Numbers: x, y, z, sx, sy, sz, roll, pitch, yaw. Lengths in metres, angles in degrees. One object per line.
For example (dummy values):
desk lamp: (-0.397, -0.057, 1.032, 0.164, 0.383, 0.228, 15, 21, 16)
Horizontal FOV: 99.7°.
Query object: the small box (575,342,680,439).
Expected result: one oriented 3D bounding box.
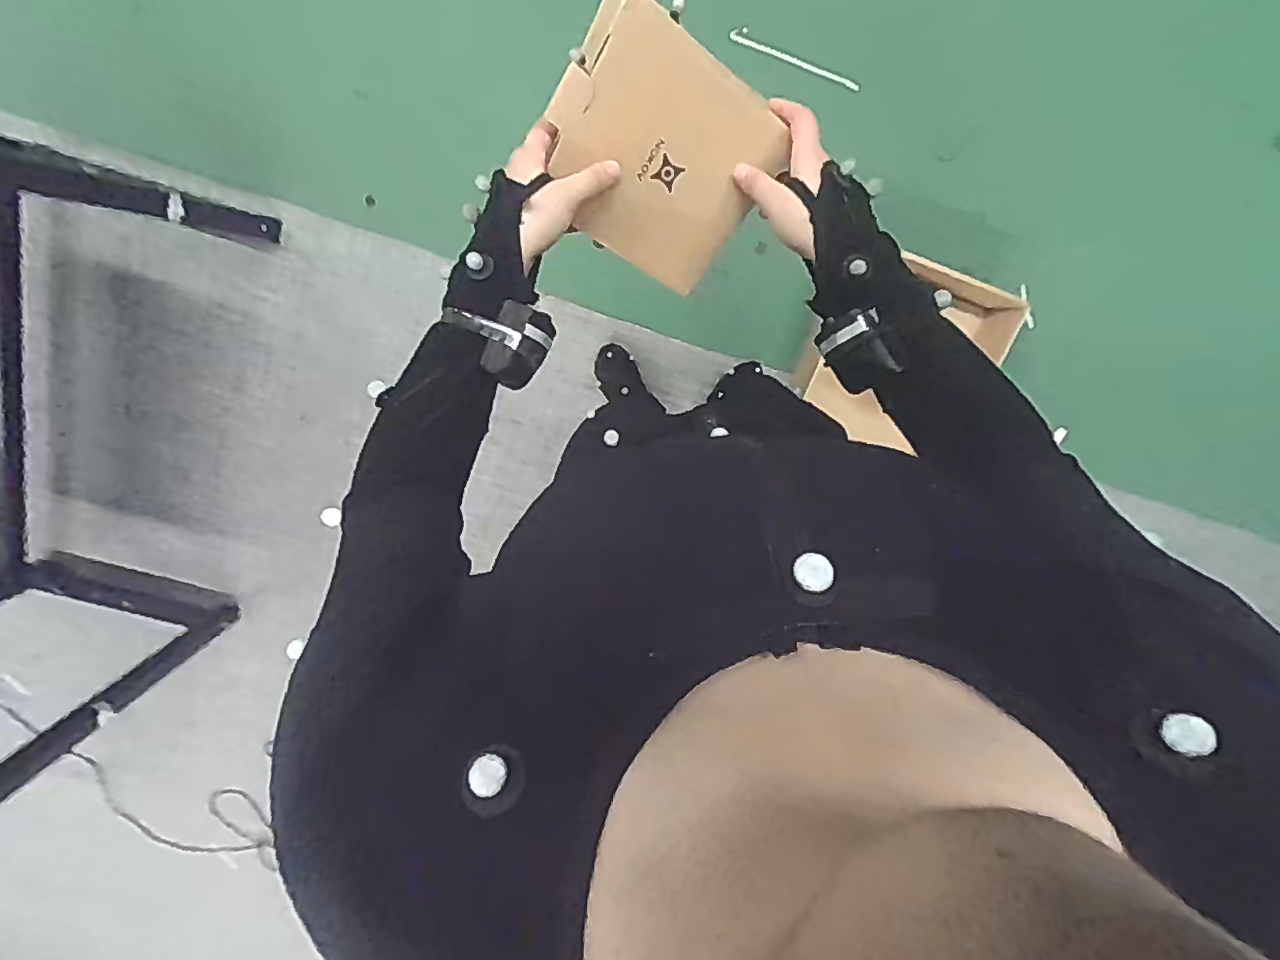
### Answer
small box: (-0.027, -0.218, 1.337, 0.176, 0.168, 0.179, 26, 82, -36)
